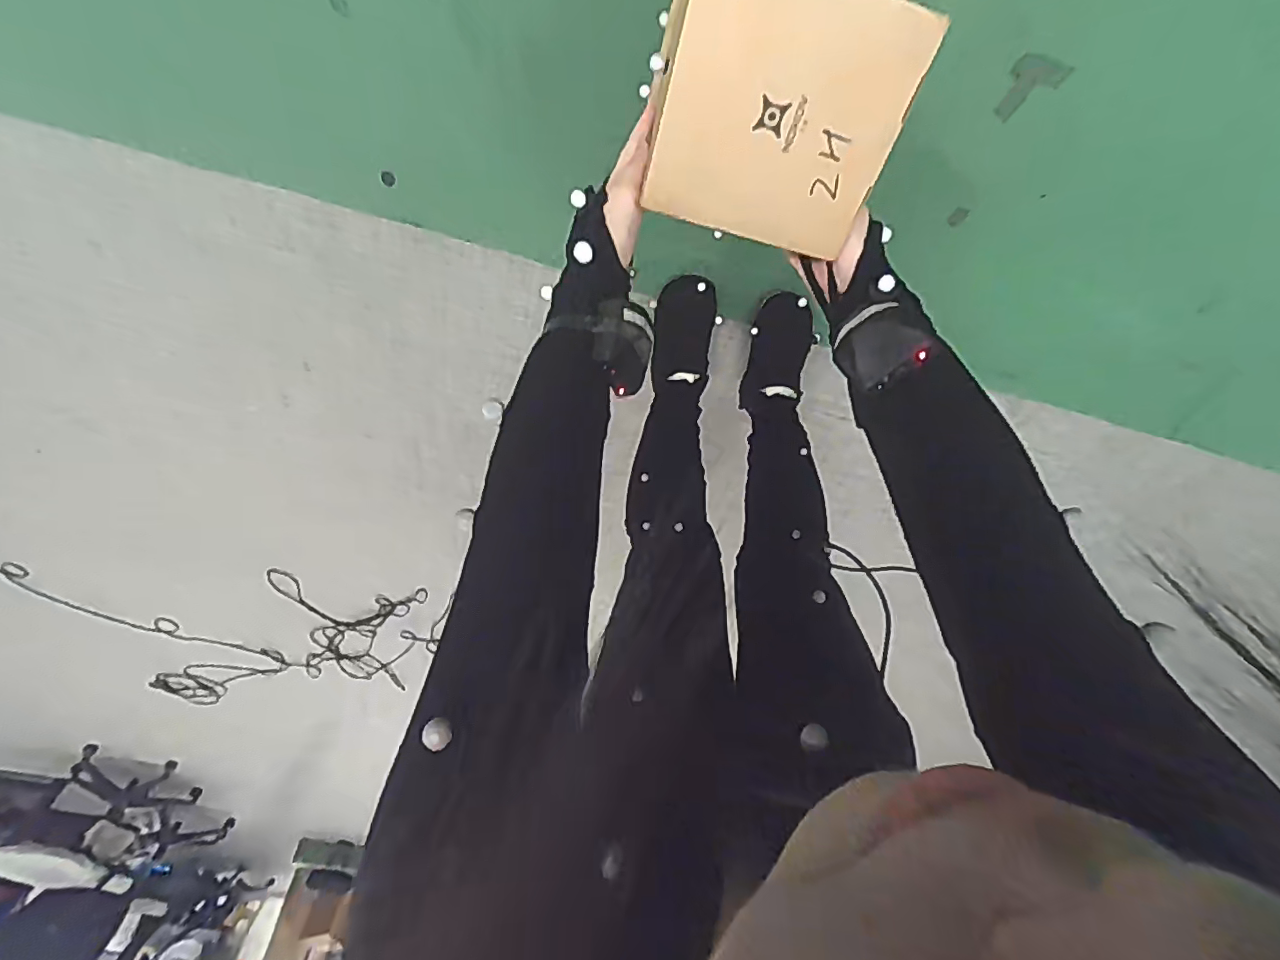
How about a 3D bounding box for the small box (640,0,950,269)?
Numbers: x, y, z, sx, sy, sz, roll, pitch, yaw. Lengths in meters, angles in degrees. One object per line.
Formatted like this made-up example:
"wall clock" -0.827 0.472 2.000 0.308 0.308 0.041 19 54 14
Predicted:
"small box" 0.105 -0.307 0.455 0.179 0.176 0.168 11 131 -8
